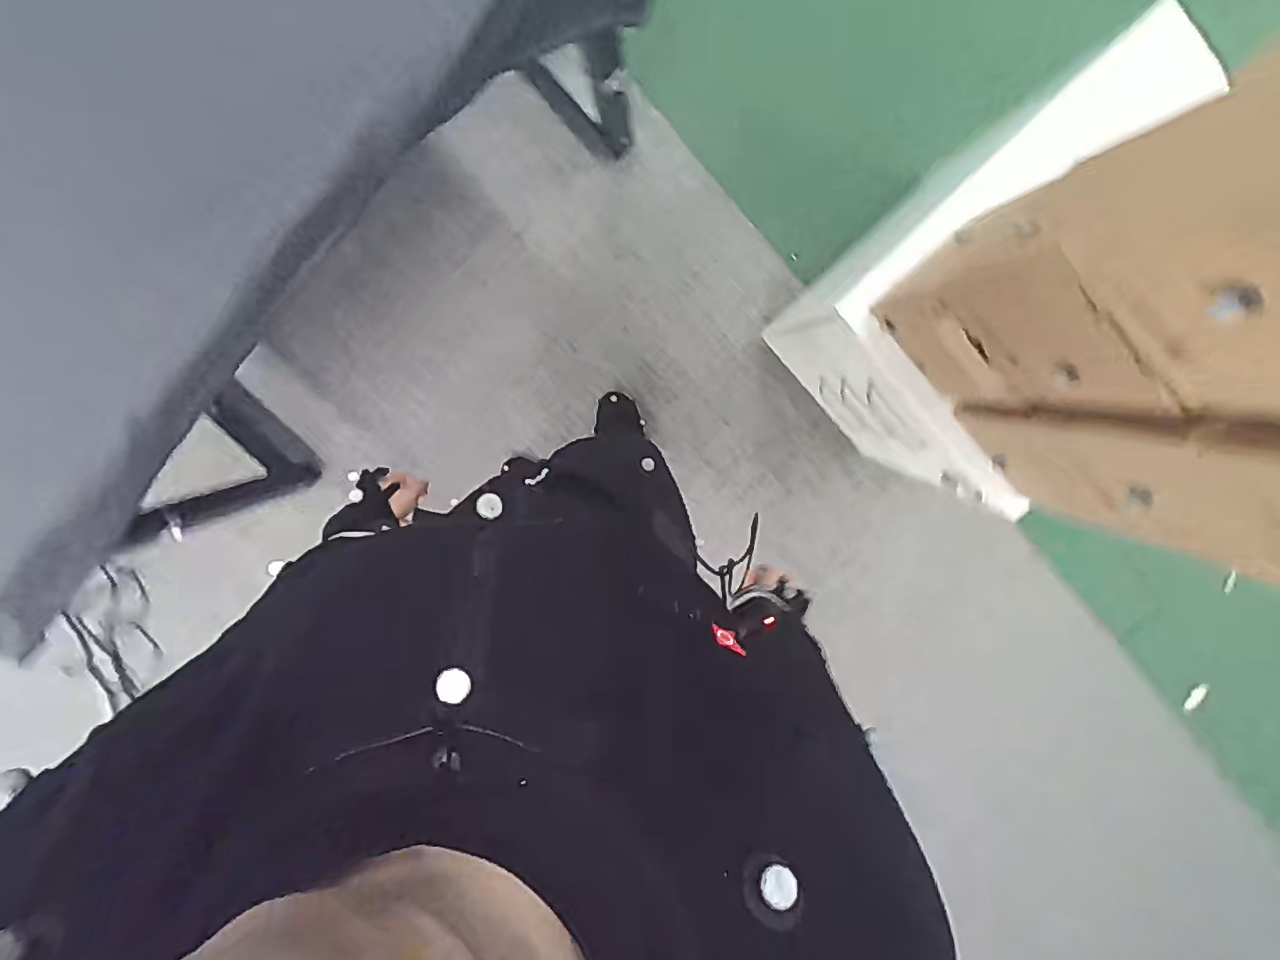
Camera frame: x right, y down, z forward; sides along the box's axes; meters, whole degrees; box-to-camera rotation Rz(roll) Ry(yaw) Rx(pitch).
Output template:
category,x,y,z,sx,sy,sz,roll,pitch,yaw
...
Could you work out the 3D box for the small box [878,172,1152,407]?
category,x,y,z,sx,sy,sz,roll,pitch,yaw
small box,0.410,-0.206,0.634,0.179,0.176,0.168,-42,99,8
